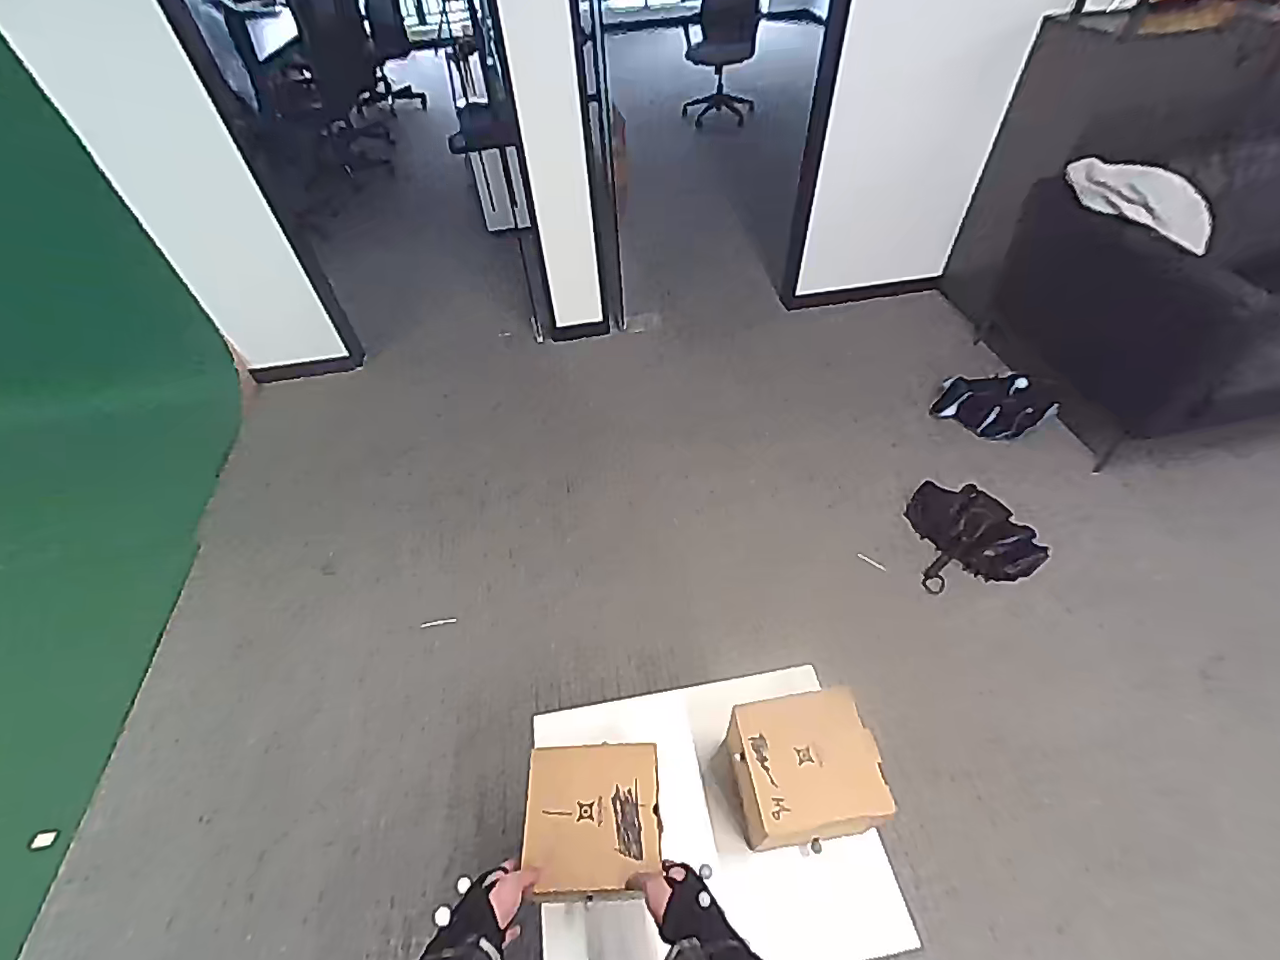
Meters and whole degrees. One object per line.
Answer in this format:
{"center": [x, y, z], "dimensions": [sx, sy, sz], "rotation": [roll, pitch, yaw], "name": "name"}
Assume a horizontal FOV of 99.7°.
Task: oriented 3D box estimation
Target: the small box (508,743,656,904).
{"center": [-0.071, 0.474, 0.746], "dimensions": [0.179, 0.176, 0.168], "rotation": [-1, 48, -1], "name": "small box"}

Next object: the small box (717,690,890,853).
{"center": [0.222, 0.427, 0.789], "dimensions": [0.179, 0.176, 0.168], "rotation": [-6, 49, -5], "name": "small box"}
